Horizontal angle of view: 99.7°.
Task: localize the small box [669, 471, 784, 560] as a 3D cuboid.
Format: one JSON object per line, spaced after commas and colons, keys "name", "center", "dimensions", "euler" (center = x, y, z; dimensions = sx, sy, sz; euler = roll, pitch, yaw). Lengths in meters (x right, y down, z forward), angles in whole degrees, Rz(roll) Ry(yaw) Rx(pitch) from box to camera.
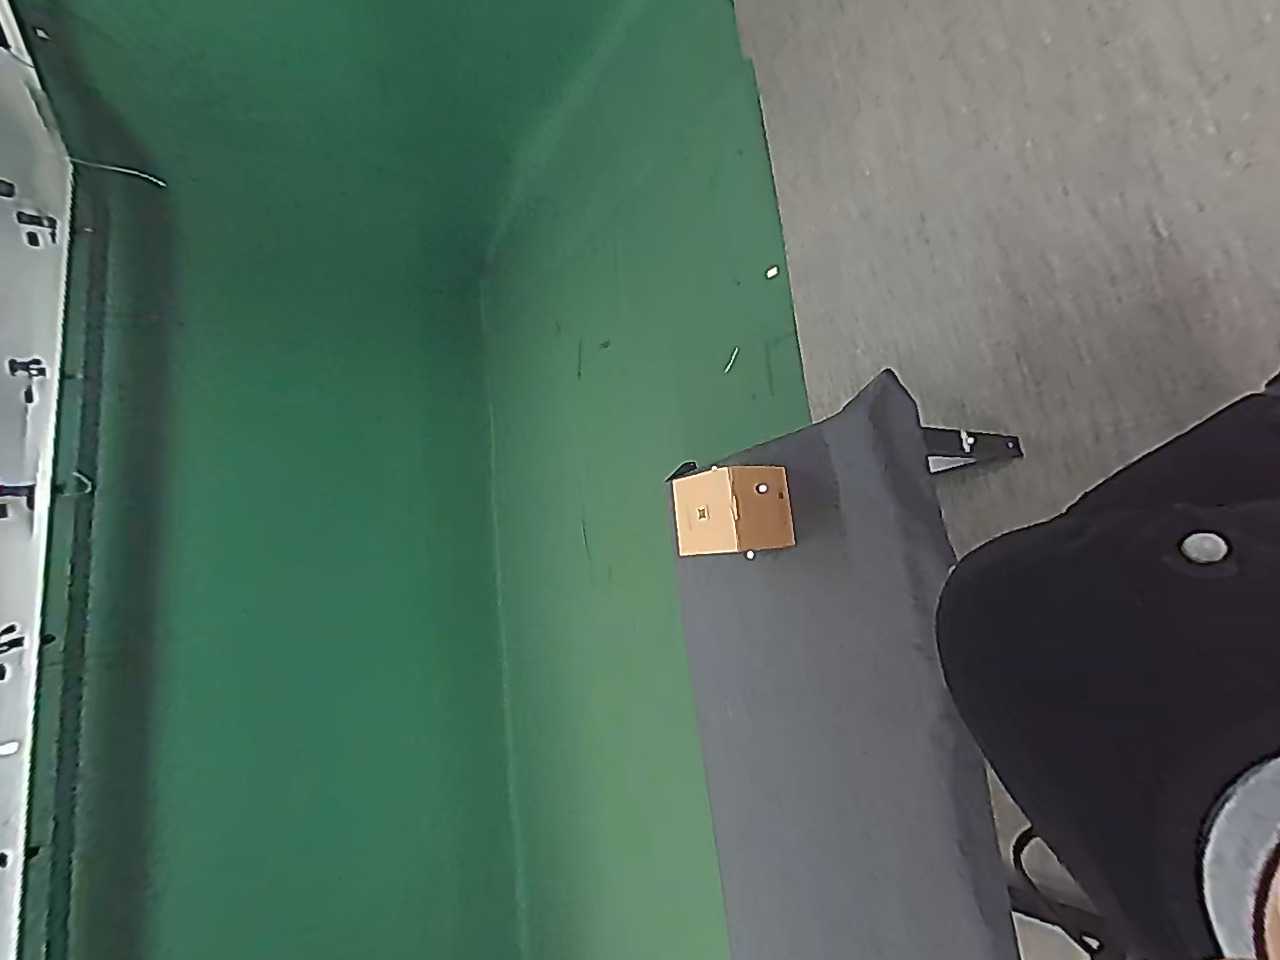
{"name": "small box", "center": [0.185, 0.076, 1.129], "dimensions": [0.179, 0.176, 0.168], "euler": [-17, 74, 54]}
